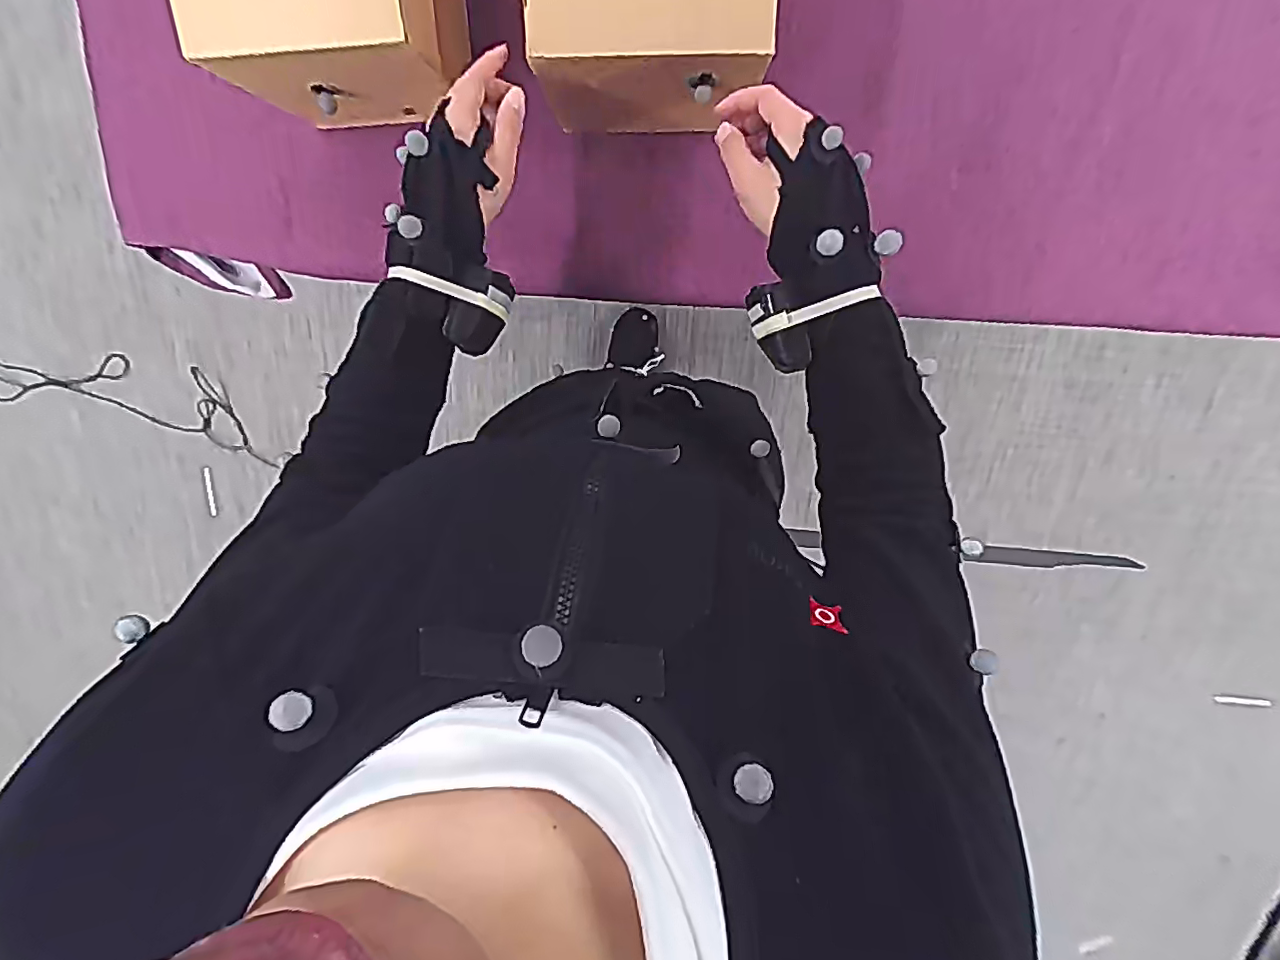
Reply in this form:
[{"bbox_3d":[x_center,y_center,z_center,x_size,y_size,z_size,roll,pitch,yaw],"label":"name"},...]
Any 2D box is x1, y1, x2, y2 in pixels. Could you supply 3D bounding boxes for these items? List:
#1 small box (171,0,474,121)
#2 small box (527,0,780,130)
[{"bbox_3d":[-0.247,-0.413,0.436,0.168,0.176,0.179,-2,107,3],"label":"small box"},{"bbox_3d":[0.010,-0.398,0.429,0.179,0.176,0.168,0,106,2],"label":"small box"}]
